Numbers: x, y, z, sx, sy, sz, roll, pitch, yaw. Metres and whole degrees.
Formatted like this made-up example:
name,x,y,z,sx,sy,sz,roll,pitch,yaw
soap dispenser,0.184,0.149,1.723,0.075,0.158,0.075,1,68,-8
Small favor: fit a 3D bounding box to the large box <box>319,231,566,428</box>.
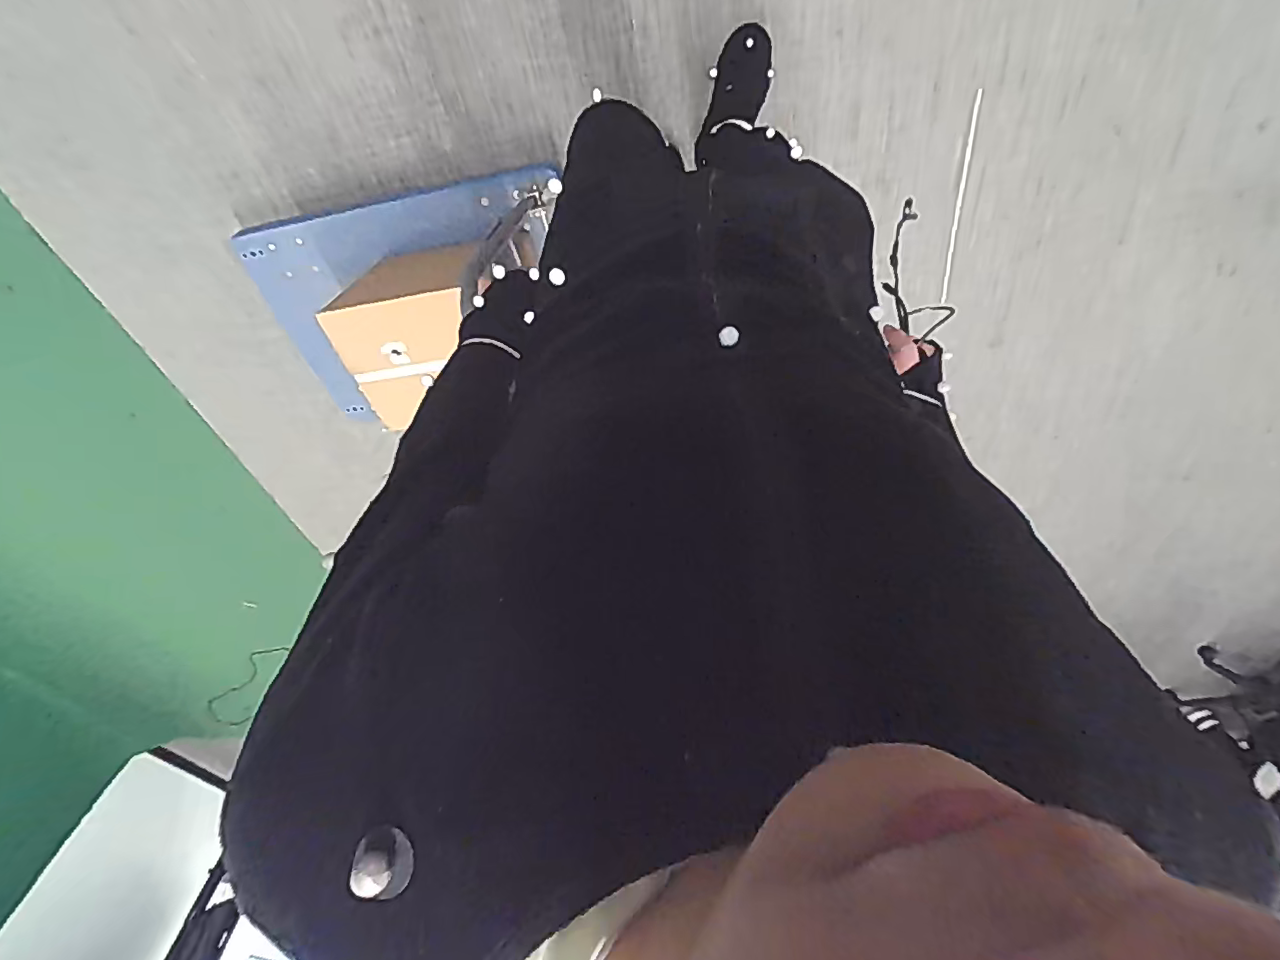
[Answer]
name,x,y,z,sx,sy,sz,roll,pitch,yaw
large box,-0.435,-0.357,1.291,0.408,0.320,0.320,-5,131,12
